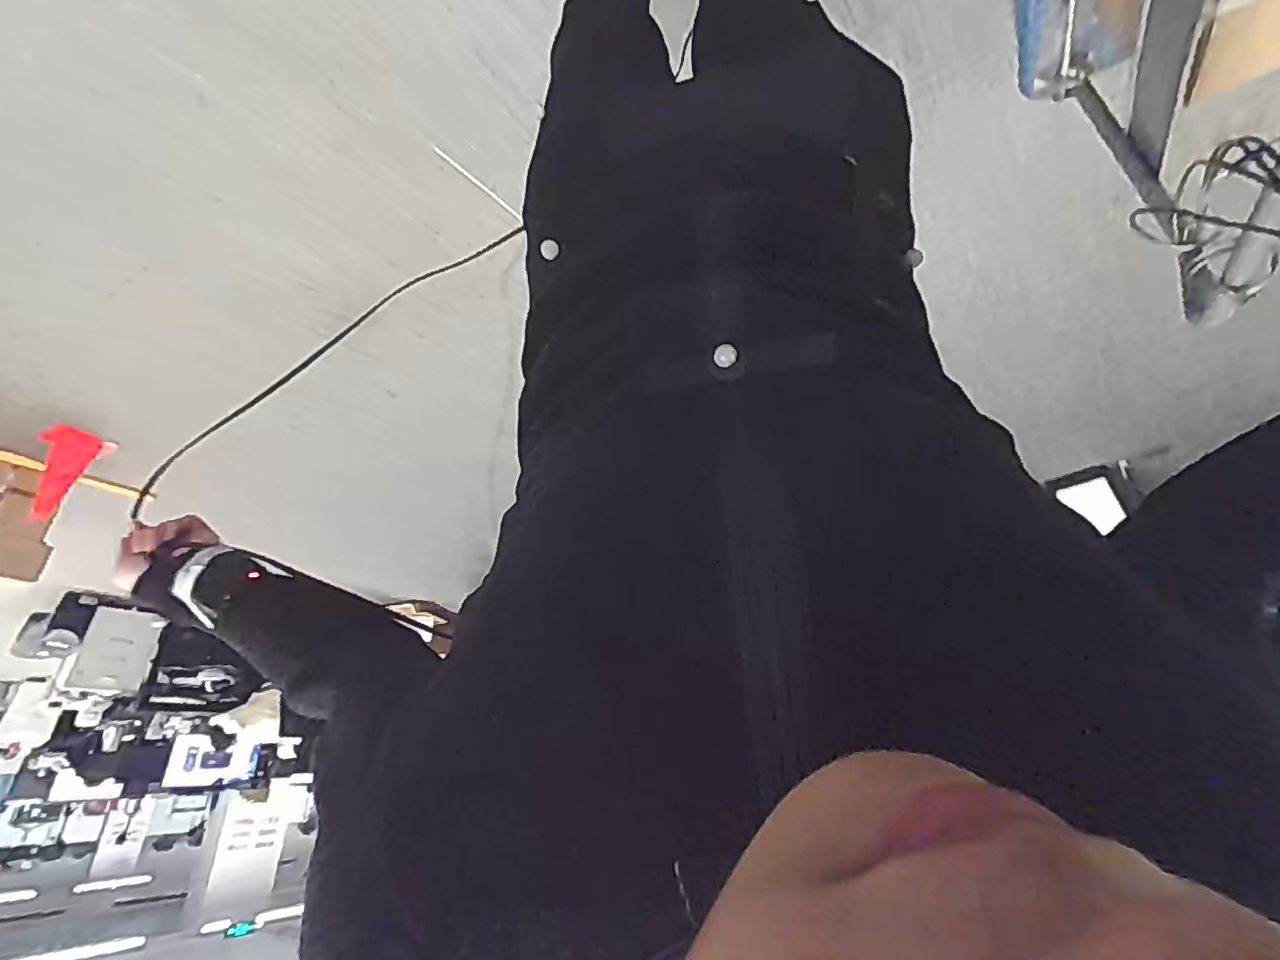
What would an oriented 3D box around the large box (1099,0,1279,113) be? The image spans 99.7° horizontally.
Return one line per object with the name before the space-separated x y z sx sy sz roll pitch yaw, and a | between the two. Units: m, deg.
large box | 0.935 -0.820 0.725 0.408 0.320 0.320 -19 147 25
